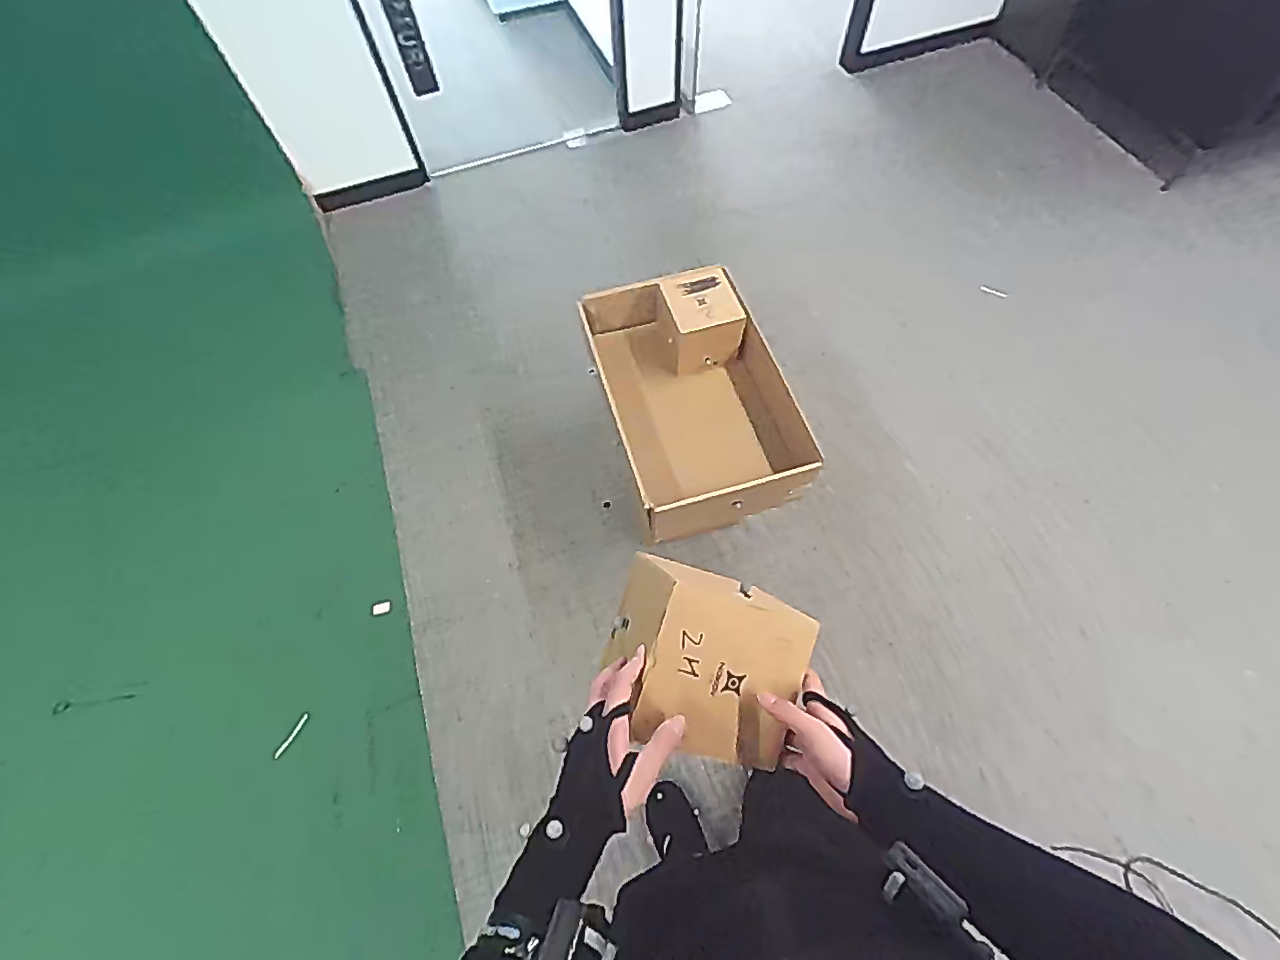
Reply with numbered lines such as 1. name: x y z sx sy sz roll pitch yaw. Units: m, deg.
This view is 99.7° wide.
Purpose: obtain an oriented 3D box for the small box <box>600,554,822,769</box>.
1. small box: 0.069 0.195 0.625 0.179 0.176 0.168 19 89 -13
